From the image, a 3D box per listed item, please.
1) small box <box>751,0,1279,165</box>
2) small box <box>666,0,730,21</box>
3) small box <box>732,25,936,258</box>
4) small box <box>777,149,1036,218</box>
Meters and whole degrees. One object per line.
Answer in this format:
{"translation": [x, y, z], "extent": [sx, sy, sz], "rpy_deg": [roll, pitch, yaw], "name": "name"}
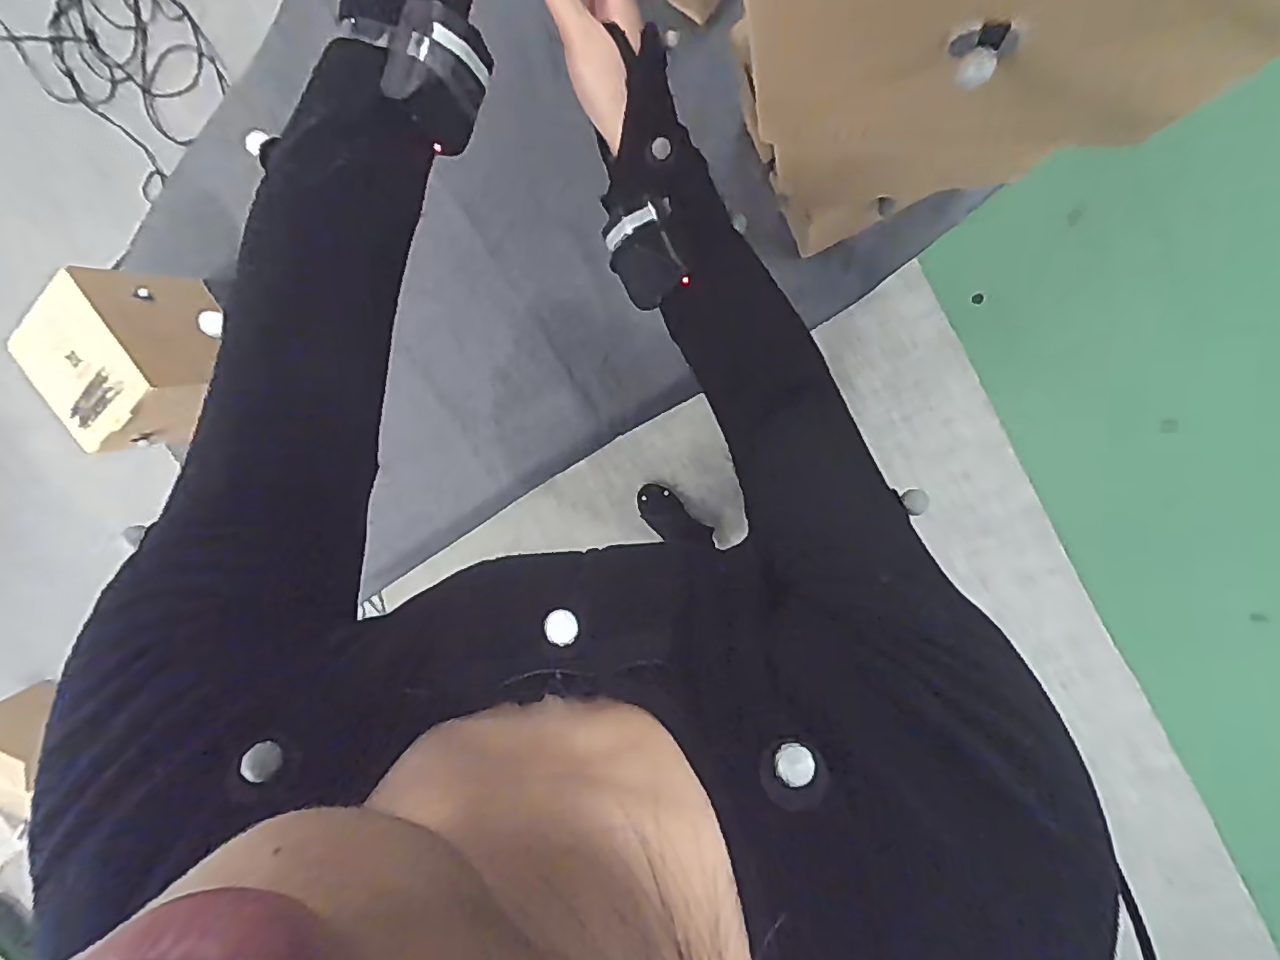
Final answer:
{"translation": [0.138, -0.221, 0.175], "extent": [0.179, 0.176, 0.168], "rpy_deg": [9, 104, 14], "name": "small box"}
{"translation": [0.033, -0.559, 0.467], "extent": [0.179, 0.176, 0.168], "rpy_deg": [37, 112, 0], "name": "small box"}
{"translation": [0.202, -0.323, 0.483], "extent": [0.179, 0.176, 0.168], "rpy_deg": [-23, 95, 20], "name": "small box"}
{"translation": [0.171, -0.276, 0.330], "extent": [0.179, 0.176, 0.168], "rpy_deg": [-2, 101, 16], "name": "small box"}
